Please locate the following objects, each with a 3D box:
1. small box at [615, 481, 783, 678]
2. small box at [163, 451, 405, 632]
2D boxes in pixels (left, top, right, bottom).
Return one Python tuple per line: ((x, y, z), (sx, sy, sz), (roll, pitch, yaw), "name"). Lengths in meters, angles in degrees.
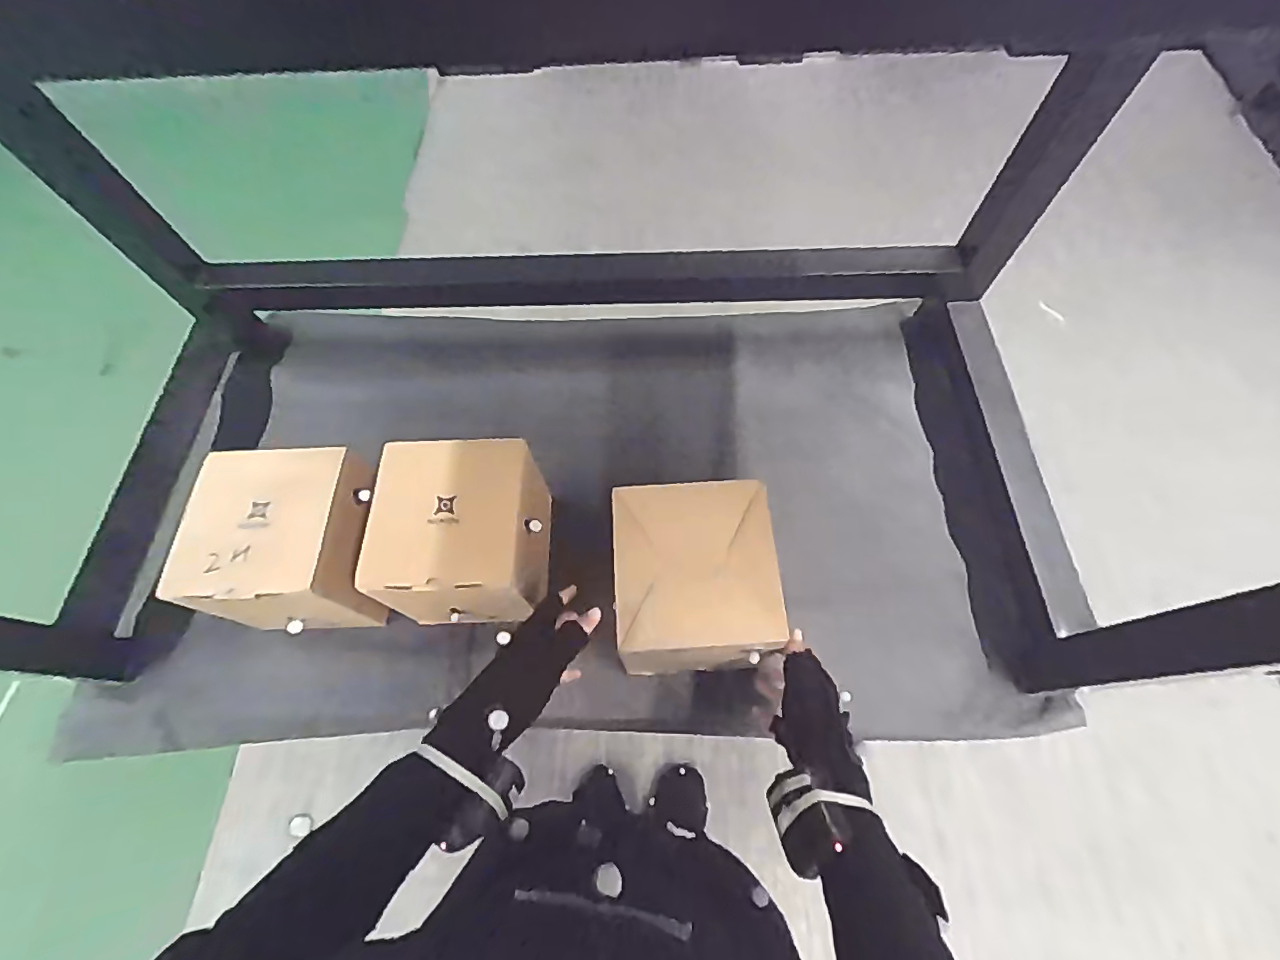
((0.060, 0.121, 0.623), (0.168, 0.176, 0.179), (-3, 63, 1), "small box")
((-0.412, 0.081, 0.667), (0.168, 0.176, 0.179), (-2, 63, 1), "small box")
